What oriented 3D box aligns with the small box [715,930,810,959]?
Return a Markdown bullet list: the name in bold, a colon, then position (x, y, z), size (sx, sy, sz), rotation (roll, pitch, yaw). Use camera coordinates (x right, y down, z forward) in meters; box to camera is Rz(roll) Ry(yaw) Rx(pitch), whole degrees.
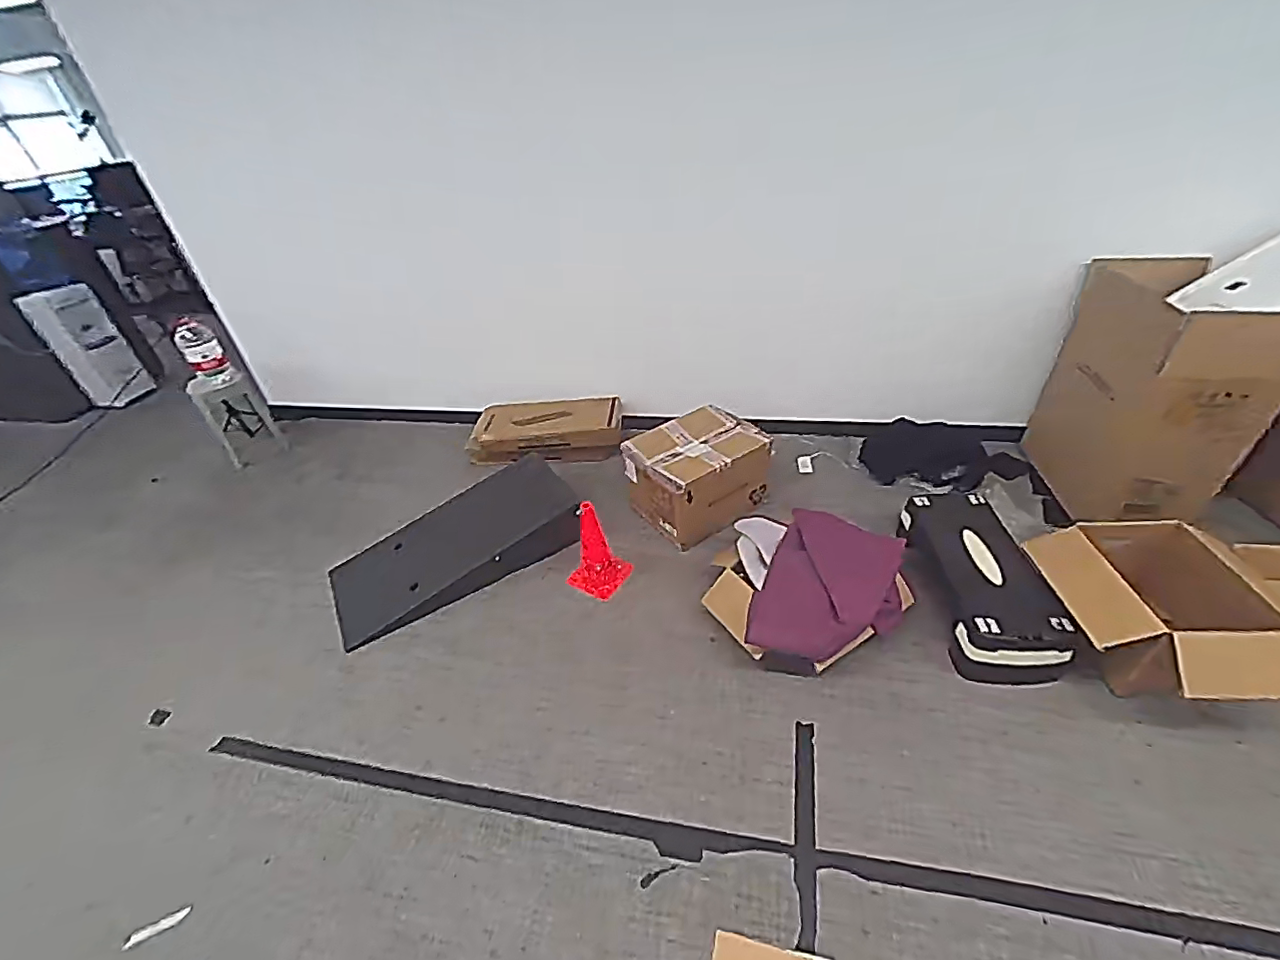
- **small box**: position (0.198, 0.911, 0.908), size (0.168, 0.176, 0.179), rotation (6, 39, 16)
